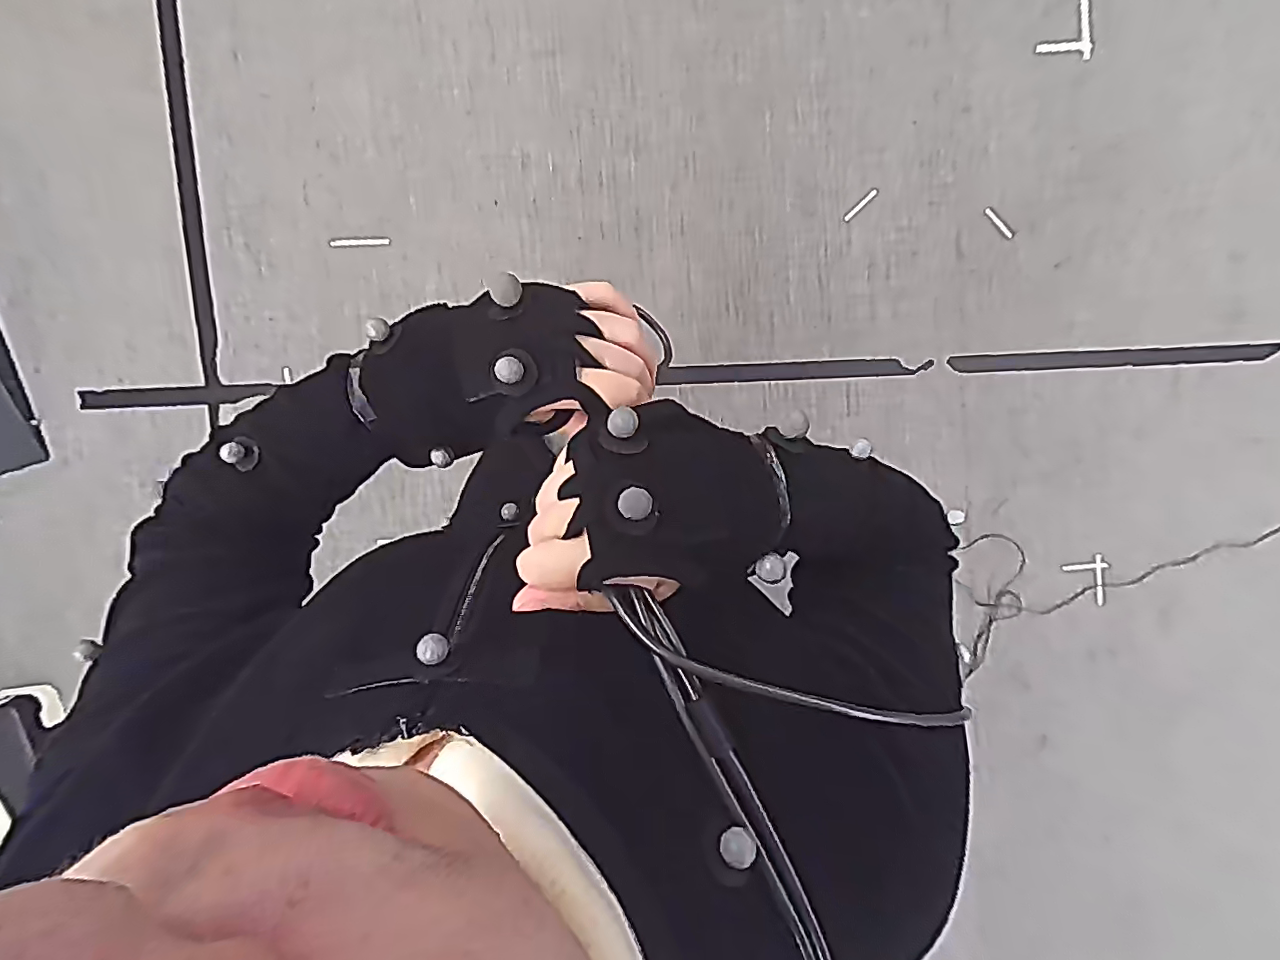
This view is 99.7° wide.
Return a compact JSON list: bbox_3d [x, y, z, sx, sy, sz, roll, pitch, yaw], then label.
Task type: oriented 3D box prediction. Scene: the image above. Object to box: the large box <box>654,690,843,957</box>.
[{"bbox_3d":[0.220,0.747,1.229,0.320,0.320,0.408,9,94,-3],"label":"large box"}]
